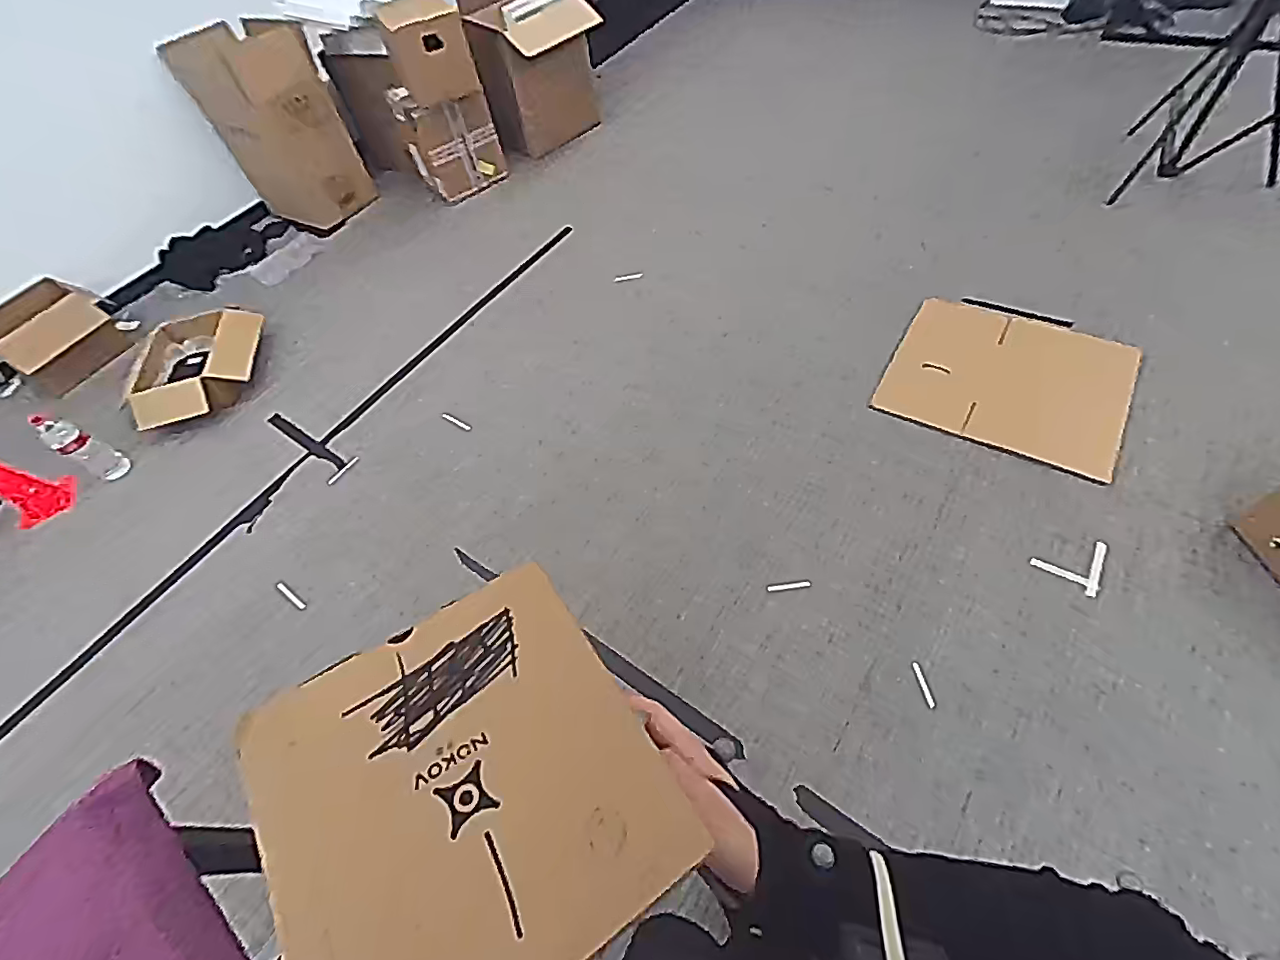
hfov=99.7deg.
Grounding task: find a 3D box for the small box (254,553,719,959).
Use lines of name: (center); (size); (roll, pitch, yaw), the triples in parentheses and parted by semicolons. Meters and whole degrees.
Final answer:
small box: (-0.079, 0.182, 0.314); (0.168, 0.176, 0.179); (-27, 57, -20)
